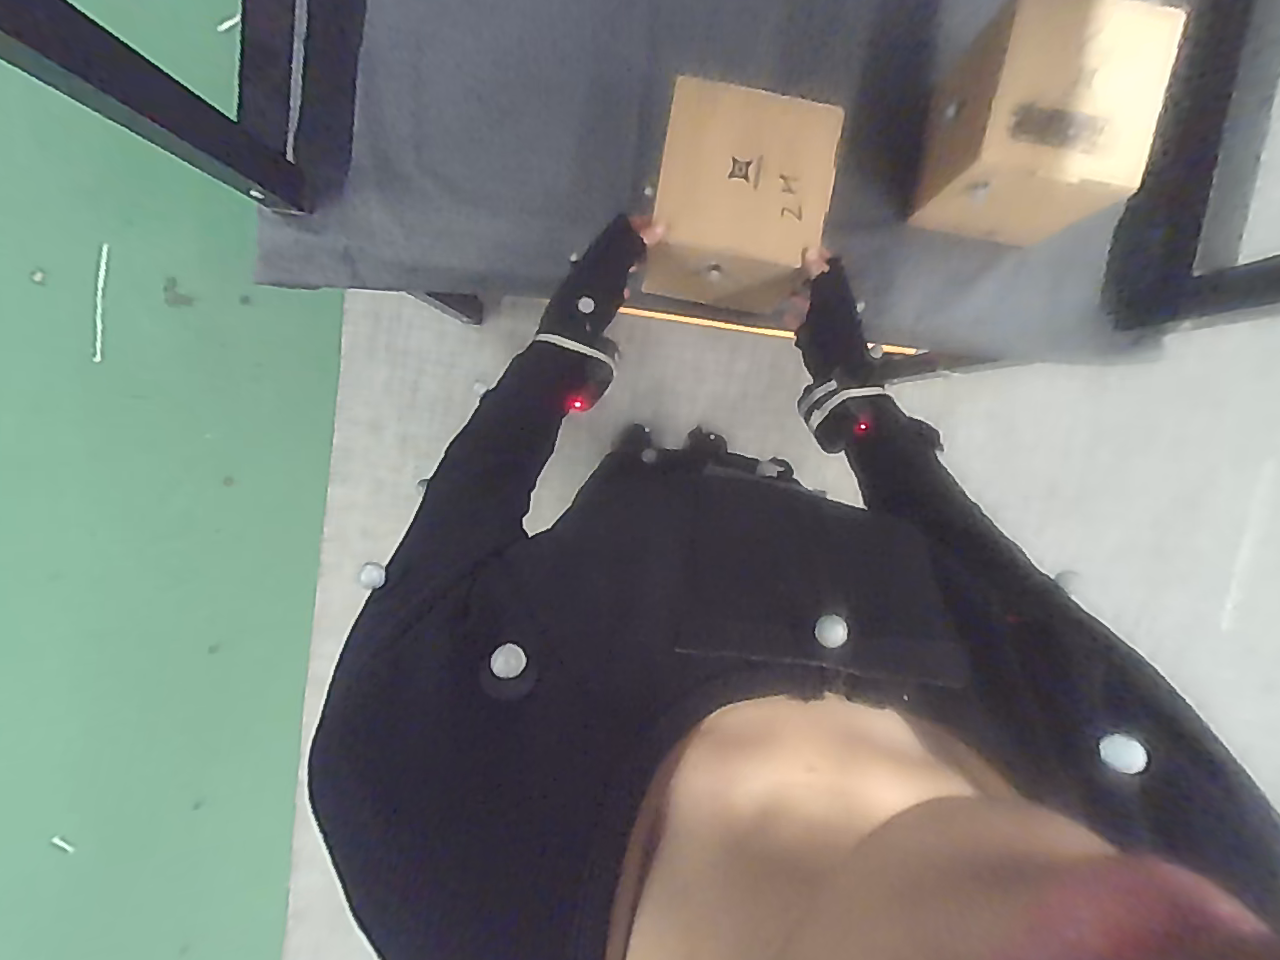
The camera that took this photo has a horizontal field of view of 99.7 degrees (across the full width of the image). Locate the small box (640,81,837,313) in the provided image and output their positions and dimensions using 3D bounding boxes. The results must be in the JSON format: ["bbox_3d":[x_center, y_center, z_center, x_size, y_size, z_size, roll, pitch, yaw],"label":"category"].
[{"bbox_3d":[0.098,-0.308,0.627,0.179,0.176,0.168,11,91,-3],"label":"small box"}]
